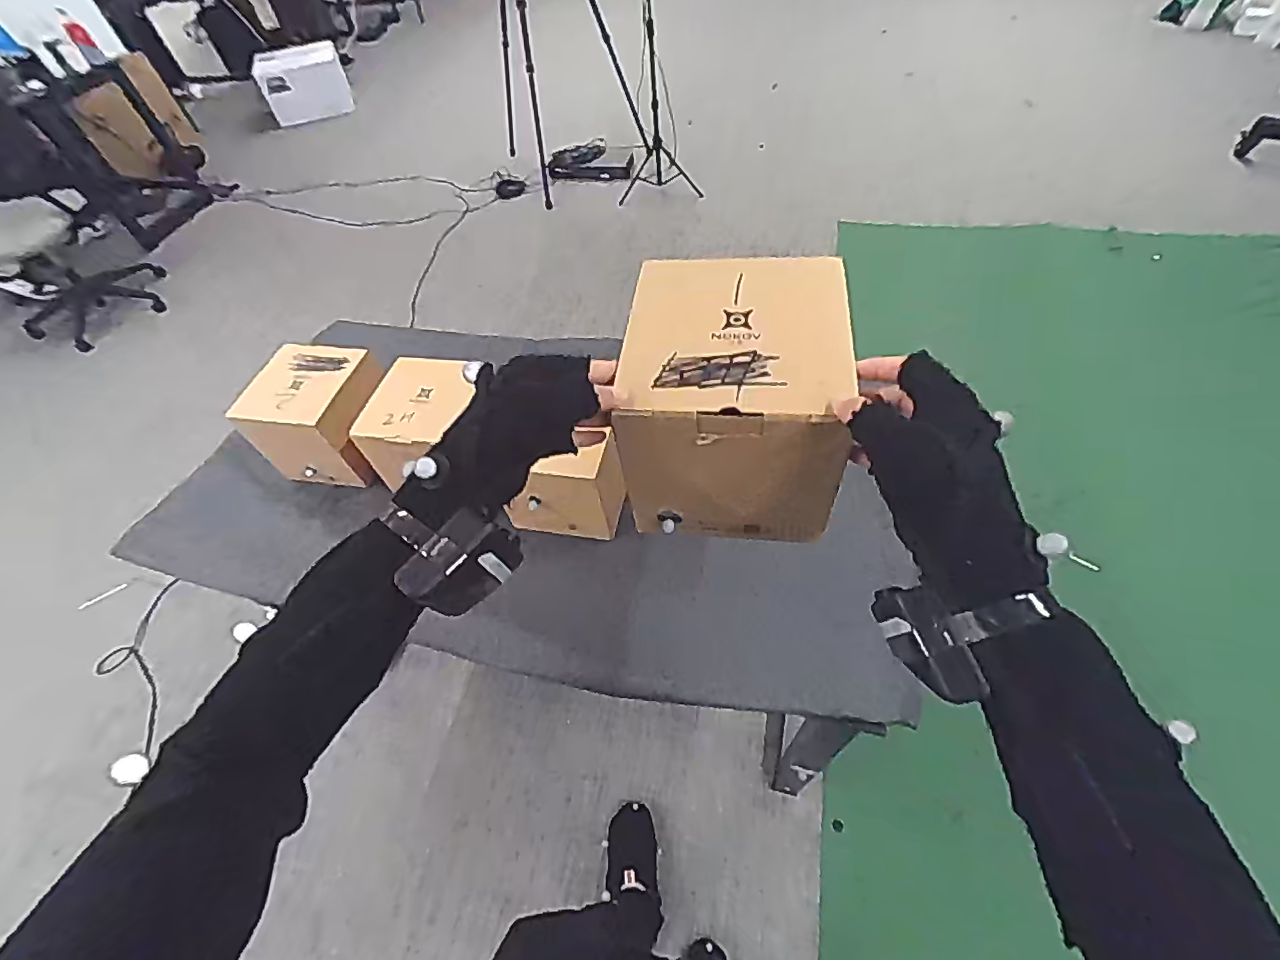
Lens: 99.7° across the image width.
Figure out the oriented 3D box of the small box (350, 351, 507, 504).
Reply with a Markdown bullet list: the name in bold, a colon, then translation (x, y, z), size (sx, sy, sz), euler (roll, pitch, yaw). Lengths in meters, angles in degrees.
- **small box**: translation (-0.322, -0.085, 0.885), size (0.168, 0.176, 0.179), euler (6, 55, 11)

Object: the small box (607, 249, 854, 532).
- **small box**: translation (0.079, -0.071, 0.464), size (0.168, 0.176, 0.179), euler (4, 55, 10)

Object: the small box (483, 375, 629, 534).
- **small box**: translation (-0.110, -0.036, 0.827), size (0.168, 0.176, 0.179), euler (7, 54, 11)
